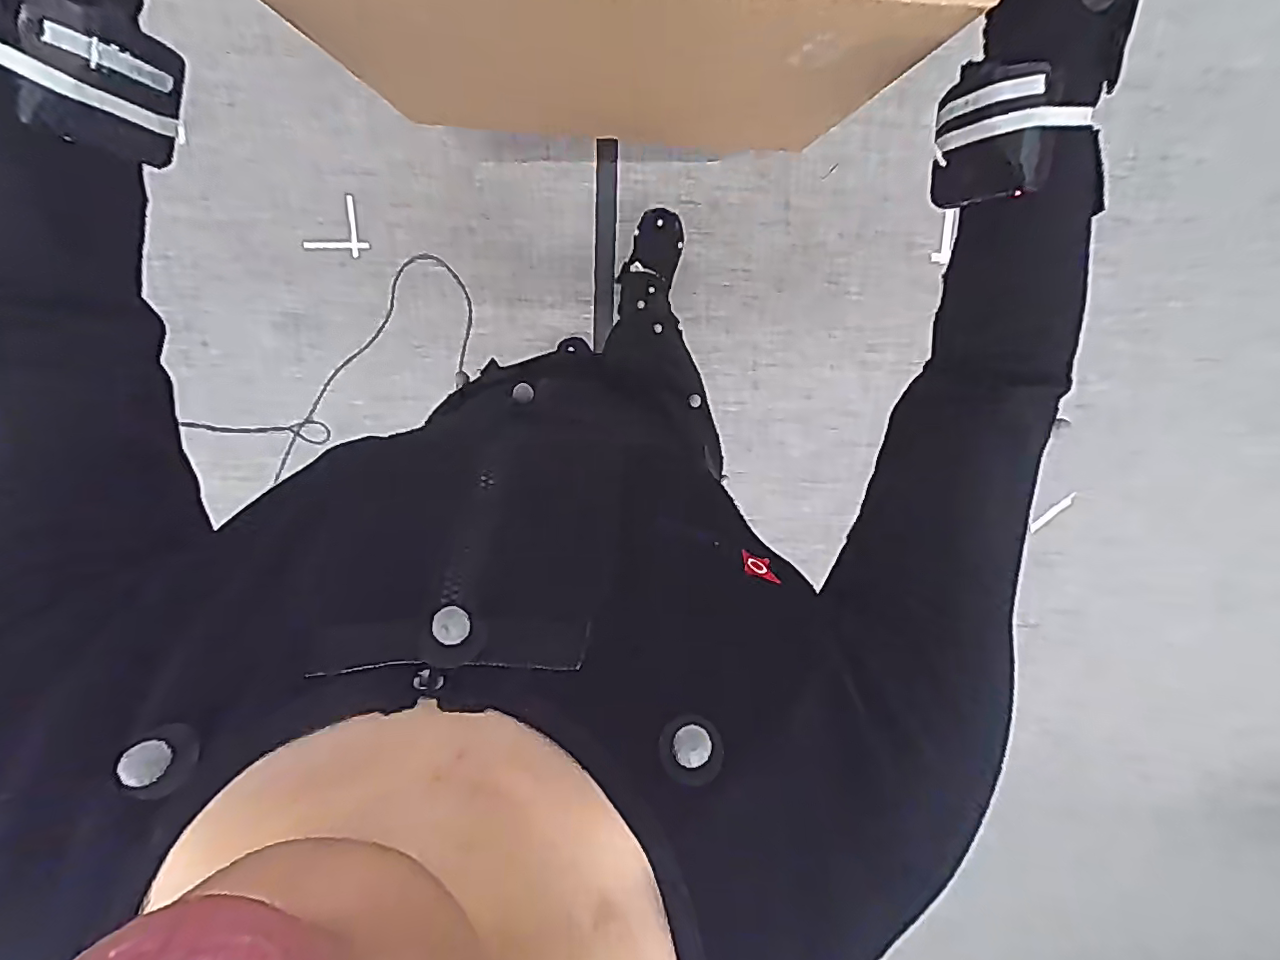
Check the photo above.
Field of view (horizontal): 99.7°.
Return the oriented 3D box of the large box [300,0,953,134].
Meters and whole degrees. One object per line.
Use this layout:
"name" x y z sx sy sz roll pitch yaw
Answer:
"large box" -0.016 -0.459 0.369 0.408 0.320 0.320 1 110 -4
